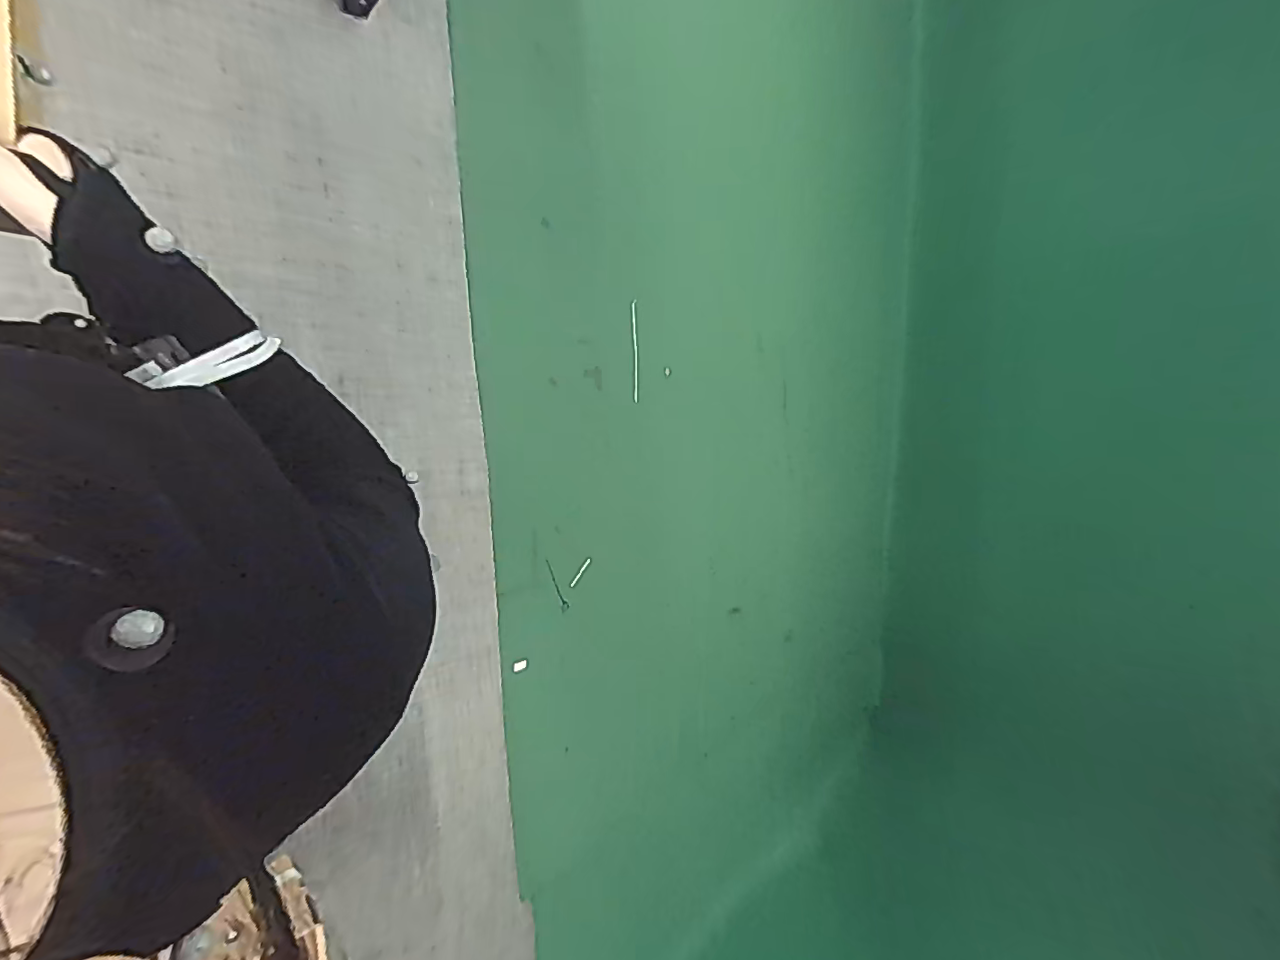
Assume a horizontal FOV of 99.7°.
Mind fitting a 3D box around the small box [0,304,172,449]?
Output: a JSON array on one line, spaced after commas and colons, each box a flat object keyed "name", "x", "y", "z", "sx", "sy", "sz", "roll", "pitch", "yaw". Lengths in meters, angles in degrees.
[{"name": "small box", "x": -1.028, "y": -0.189, "z": 0.987, "sx": 0.168, "sy": 0.176, "sz": 0.179, "roll": 44, "pitch": 28, "yaw": -13}]

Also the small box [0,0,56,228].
[{"name": "small box", "x": -0.475, "y": -0.271, "z": 0.318, "sx": 0.168, "sy": 0.176, "sz": 0.179, "roll": -1, "pitch": 98, "yaw": -42}]
